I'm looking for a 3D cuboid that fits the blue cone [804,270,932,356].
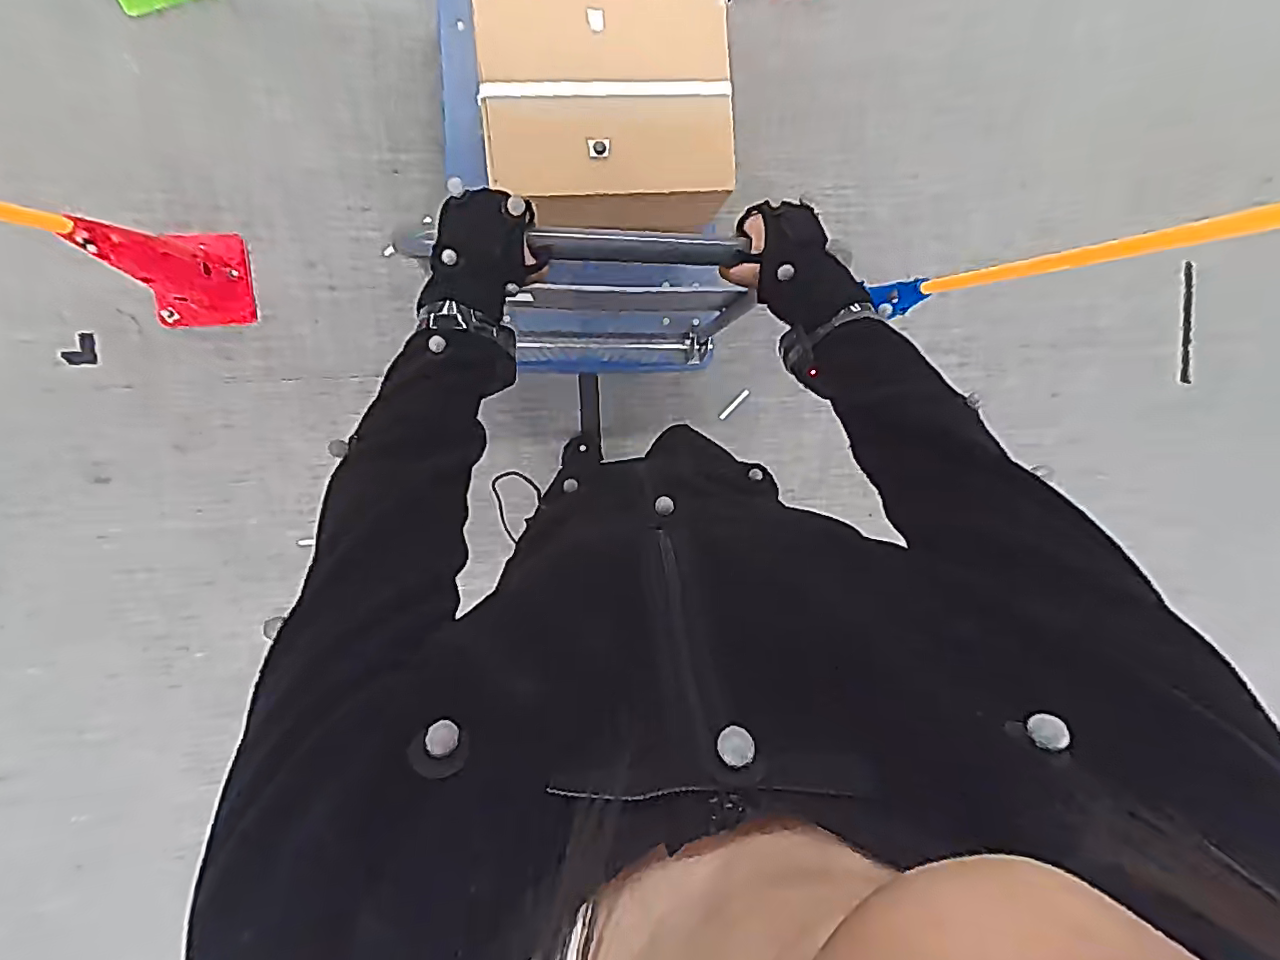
[{"bbox_3d":[0.569,-0.426,1.312,0.193,0.380,0.192,-8,96,-9],"label":"blue cone"}]
